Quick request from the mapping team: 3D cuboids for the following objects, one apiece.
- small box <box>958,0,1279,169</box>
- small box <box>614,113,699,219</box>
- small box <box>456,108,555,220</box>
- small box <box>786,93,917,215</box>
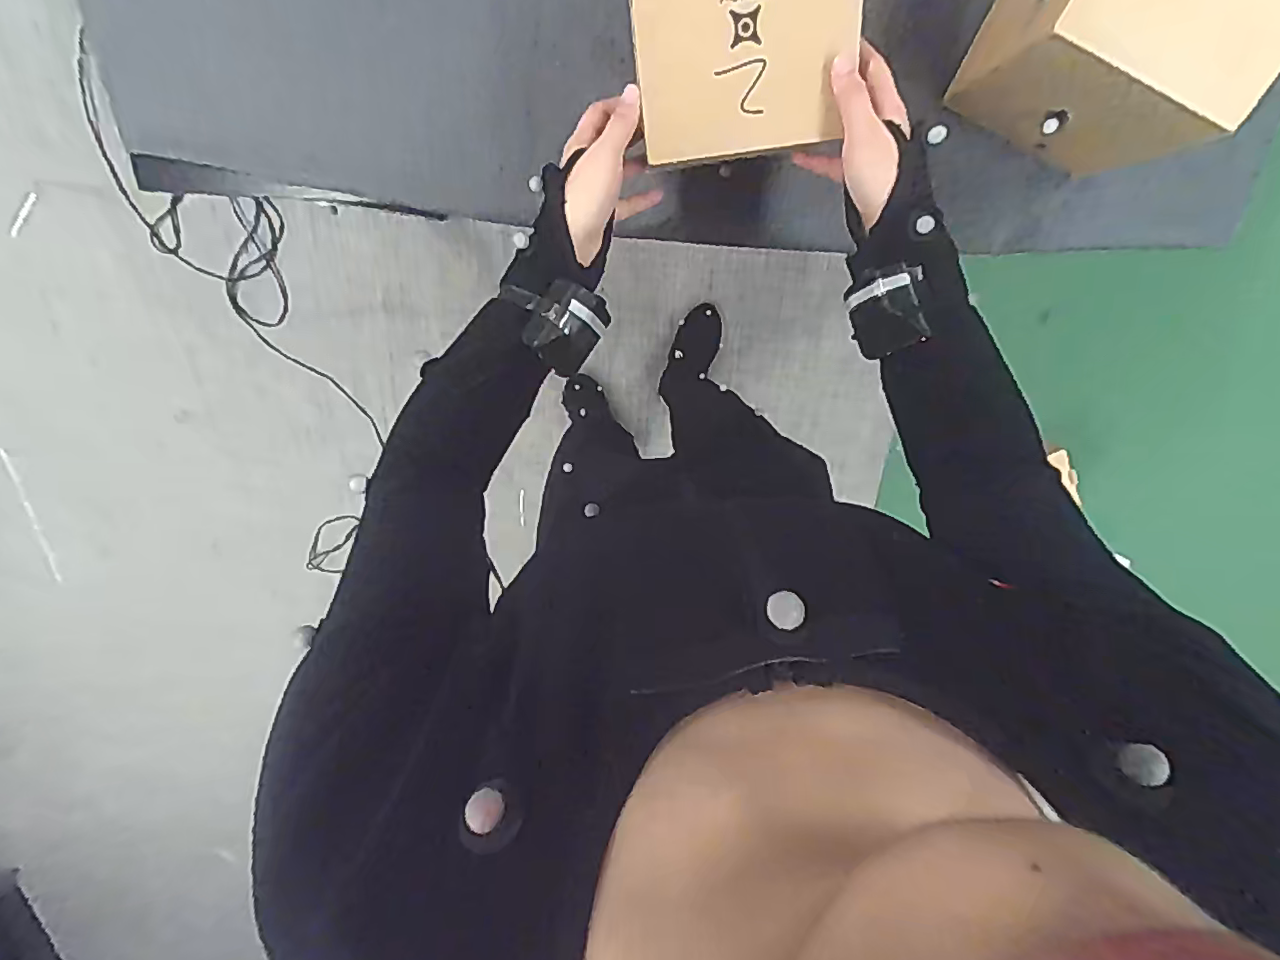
[{"bbox_3d":[0.401,-0.385,0.439,0.168,0.176,0.179,23,109,-6],"label":"small box"},{"bbox_3d":[0.035,-0.654,1.142,0.168,0.176,0.179,1,112,2],"label":"small box"},{"bbox_3d":[-0.283,-0.665,1.158,0.168,0.176,0.179,8,112,0],"label":"small box"},{"bbox_3d":[0.422,-0.660,1.117,0.179,0.176,0.168,15,113,-5],"label":"small box"}]
